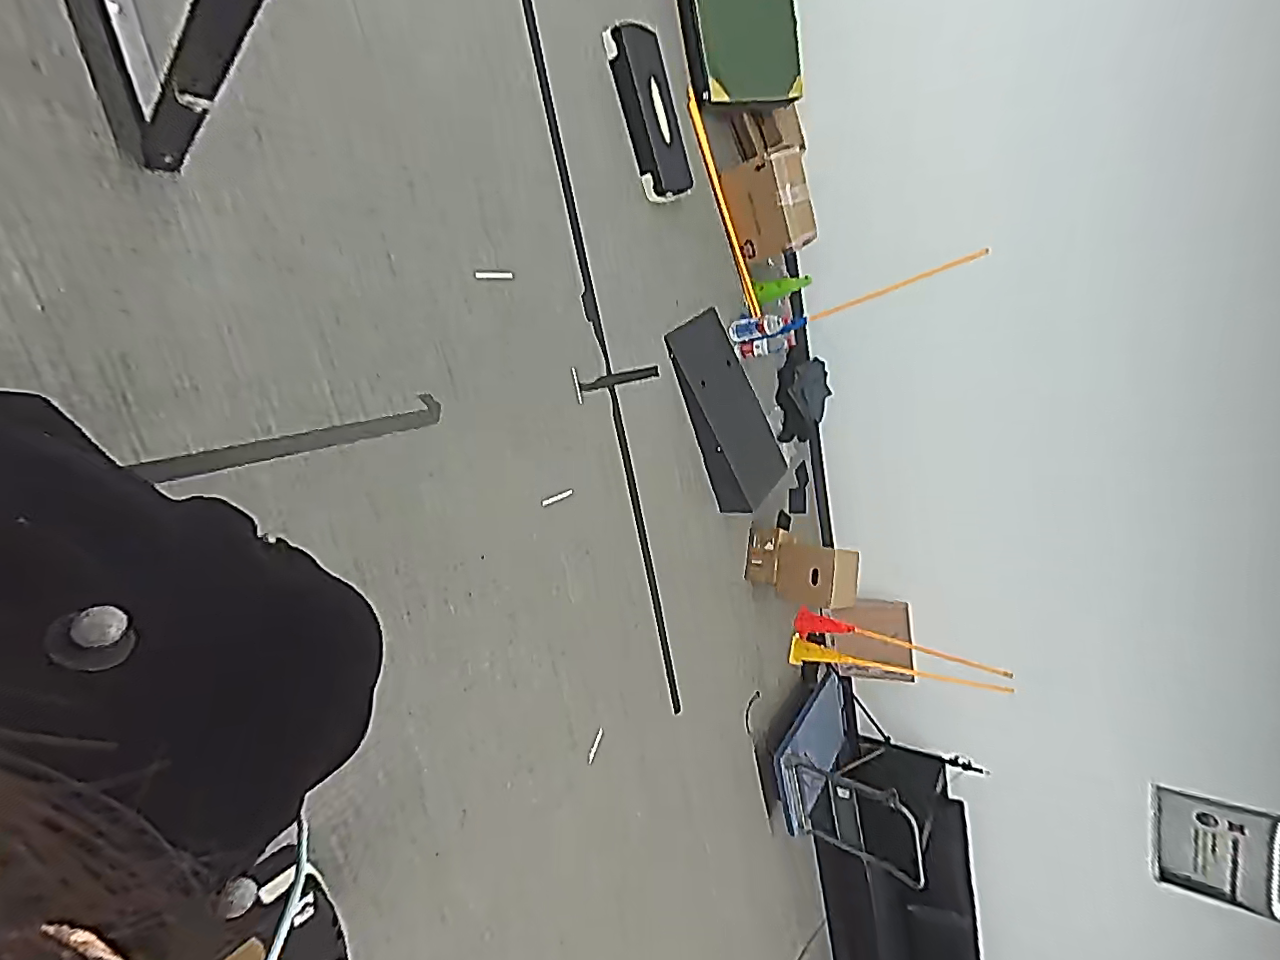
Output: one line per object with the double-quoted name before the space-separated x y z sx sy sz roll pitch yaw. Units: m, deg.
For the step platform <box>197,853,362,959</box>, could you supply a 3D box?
"step platform" -0.934 1.112 1.074 0.684 0.204 0.286 -16 101 -50
